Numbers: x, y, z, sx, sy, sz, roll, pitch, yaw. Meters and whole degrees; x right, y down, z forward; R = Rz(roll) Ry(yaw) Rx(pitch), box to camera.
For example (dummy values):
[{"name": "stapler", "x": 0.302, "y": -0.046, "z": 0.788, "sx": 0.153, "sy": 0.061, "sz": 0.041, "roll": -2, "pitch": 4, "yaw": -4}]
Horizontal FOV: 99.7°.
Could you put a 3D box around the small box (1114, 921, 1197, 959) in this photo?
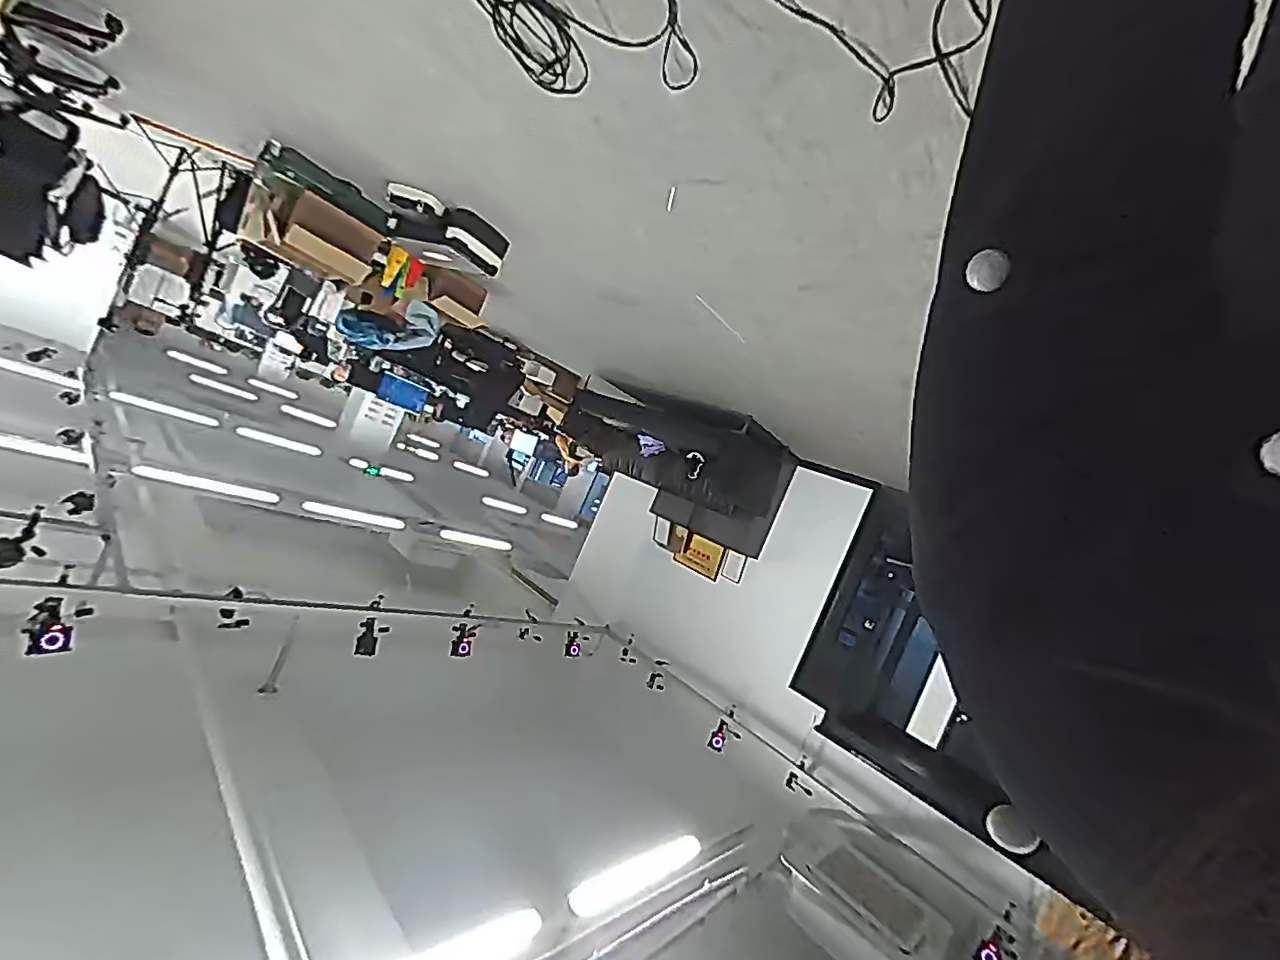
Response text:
[{"name": "small box", "x": 1.448, "y": 1.389, "z": 1.512, "sx": 0.179, "sy": 0.176, "sz": 0.168, "roll": 24, "pitch": -178, "yaw": -42}]
